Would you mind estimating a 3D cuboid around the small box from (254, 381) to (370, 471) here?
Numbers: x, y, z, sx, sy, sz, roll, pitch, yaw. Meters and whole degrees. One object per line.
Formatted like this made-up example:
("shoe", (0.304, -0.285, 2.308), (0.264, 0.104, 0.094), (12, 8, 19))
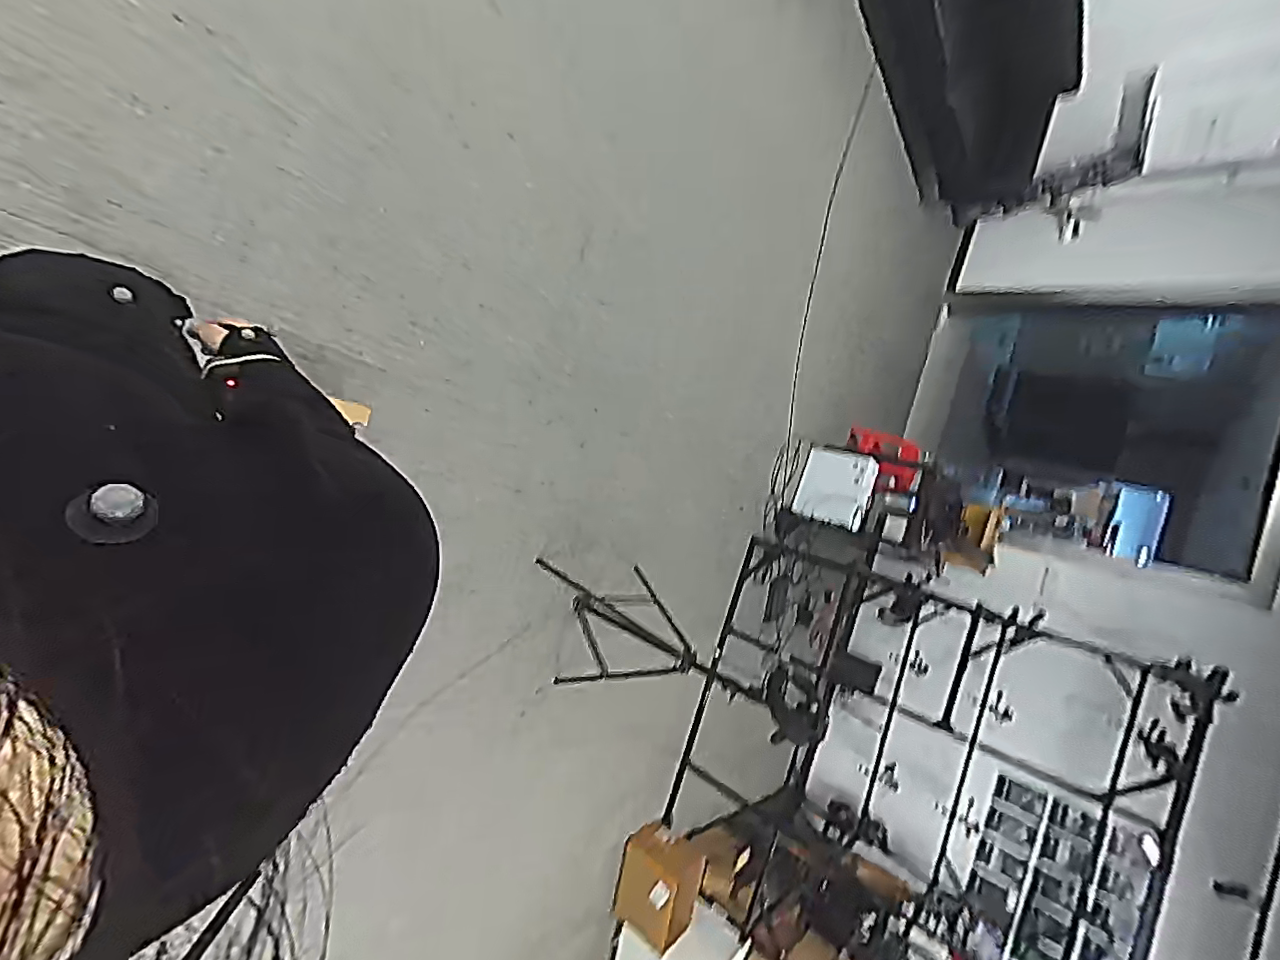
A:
("small box", (-0.792, -0.132, 1.301), (0.179, 0.176, 0.168), (19, 88, -51))
